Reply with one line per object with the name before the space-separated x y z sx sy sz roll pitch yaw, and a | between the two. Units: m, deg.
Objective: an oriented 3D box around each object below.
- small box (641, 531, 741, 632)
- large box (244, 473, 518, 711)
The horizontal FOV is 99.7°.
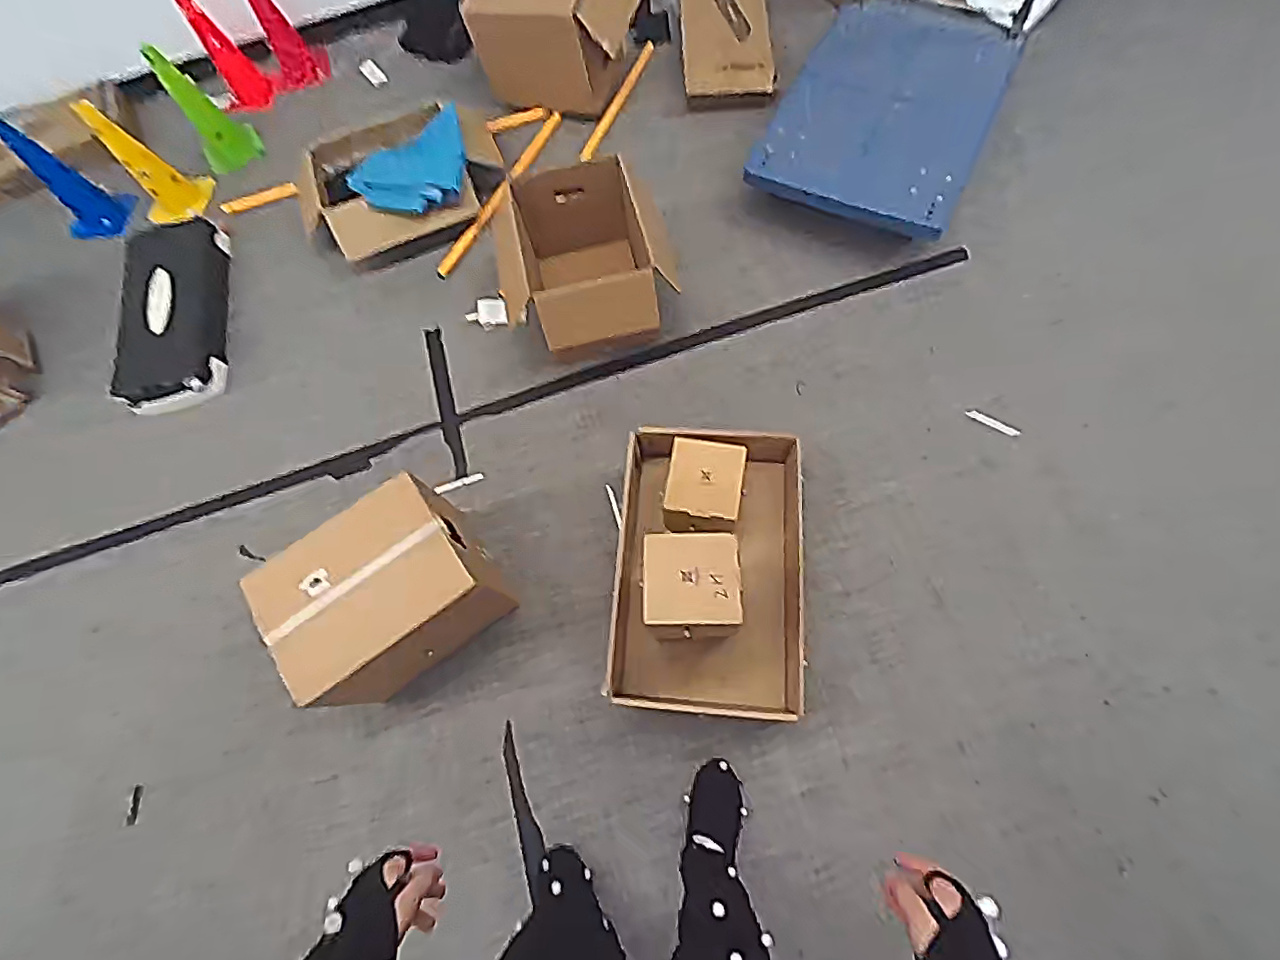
small box | 0.096 0.200 1.041 0.179 0.176 0.168 -1 68 4
large box | -0.560 0.257 1.235 0.408 0.320 0.320 -37 70 -7
